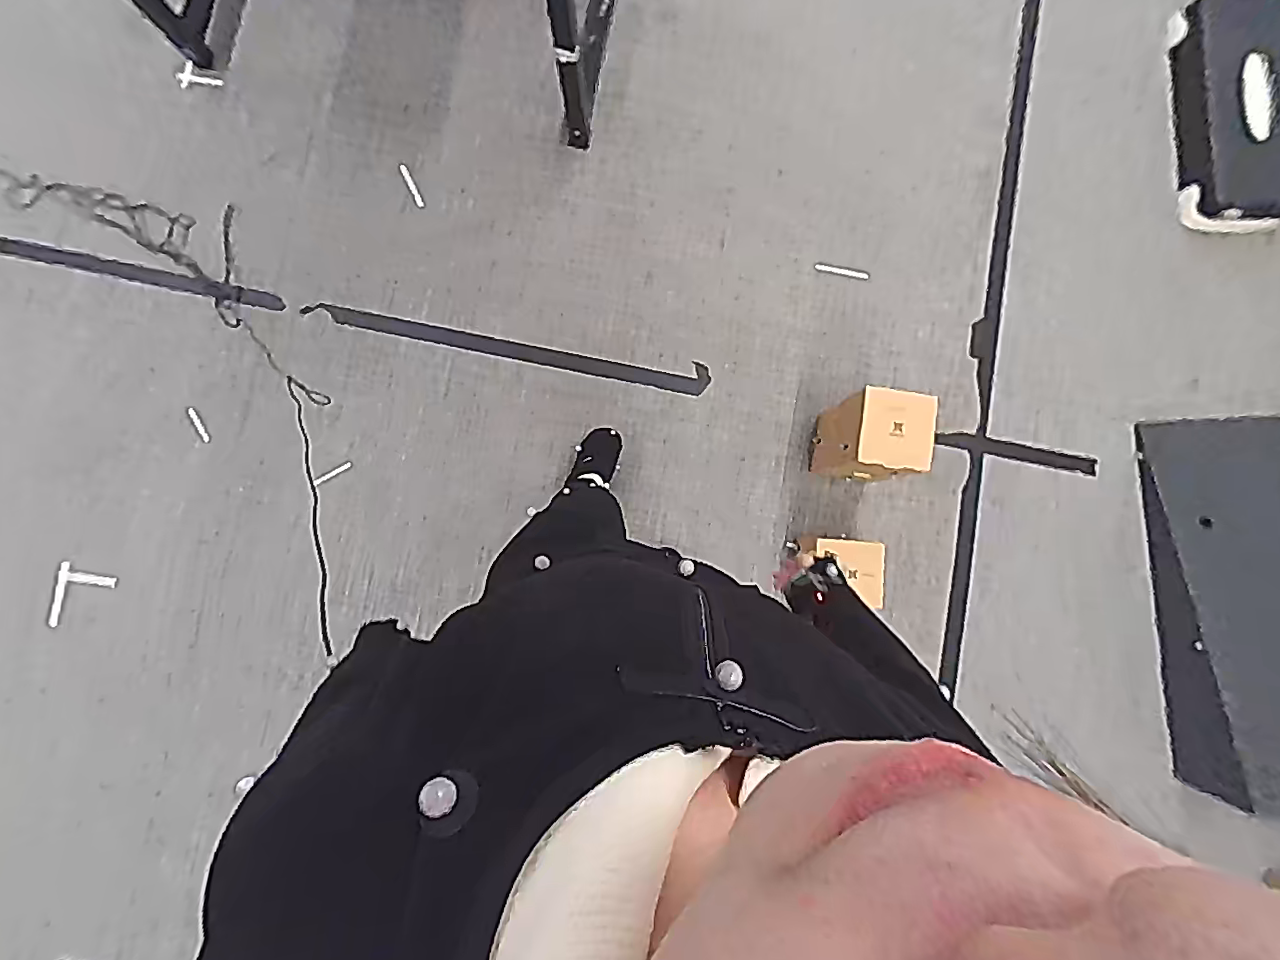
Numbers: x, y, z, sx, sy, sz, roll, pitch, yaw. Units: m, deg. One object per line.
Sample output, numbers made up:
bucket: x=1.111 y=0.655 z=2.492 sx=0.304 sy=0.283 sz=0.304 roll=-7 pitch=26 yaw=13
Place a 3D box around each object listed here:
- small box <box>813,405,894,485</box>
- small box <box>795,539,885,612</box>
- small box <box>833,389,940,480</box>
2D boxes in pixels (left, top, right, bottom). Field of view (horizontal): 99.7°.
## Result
small box: x=0.571 y=-0.087 z=1.432 sx=0.168 sy=0.176 sz=0.179 roll=11 pitch=87 yaw=0
small box: x=0.515 y=0.243 z=1.412 sx=0.179 sy=0.176 sz=0.168 roll=4 pitch=87 yaw=-1
small box: x=0.569 y=-0.099 z=1.269 sx=0.168 sy=0.176 sz=0.179 roll=9 pitch=86 yaw=0
